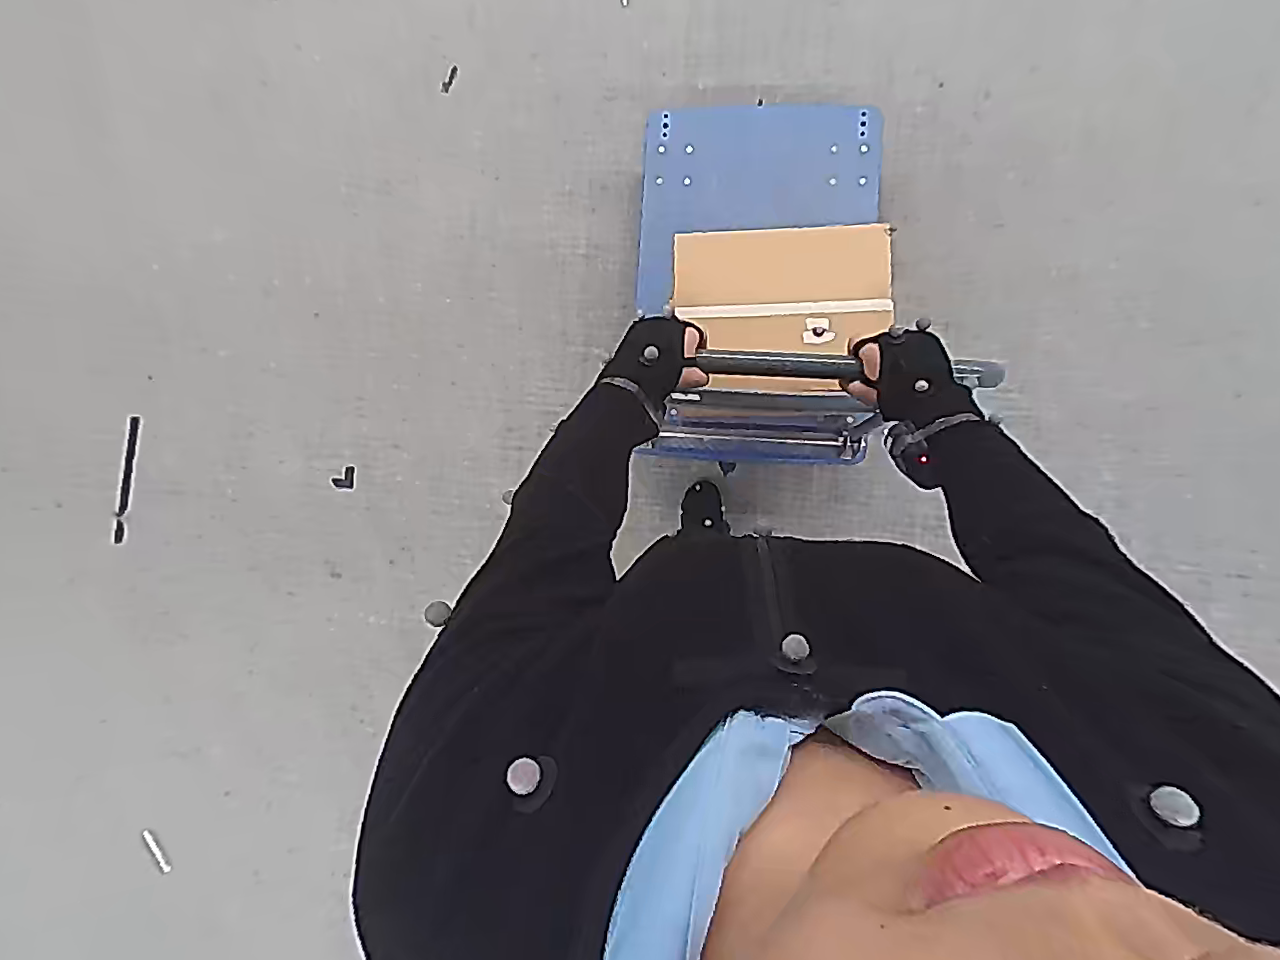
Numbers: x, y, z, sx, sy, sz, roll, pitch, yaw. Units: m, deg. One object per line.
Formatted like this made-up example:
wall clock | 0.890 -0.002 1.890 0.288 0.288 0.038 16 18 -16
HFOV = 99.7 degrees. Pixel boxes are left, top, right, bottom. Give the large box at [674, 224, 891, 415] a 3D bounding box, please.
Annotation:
large box | 0.281 -0.323 1.181 0.408 0.320 0.320 0 89 5
